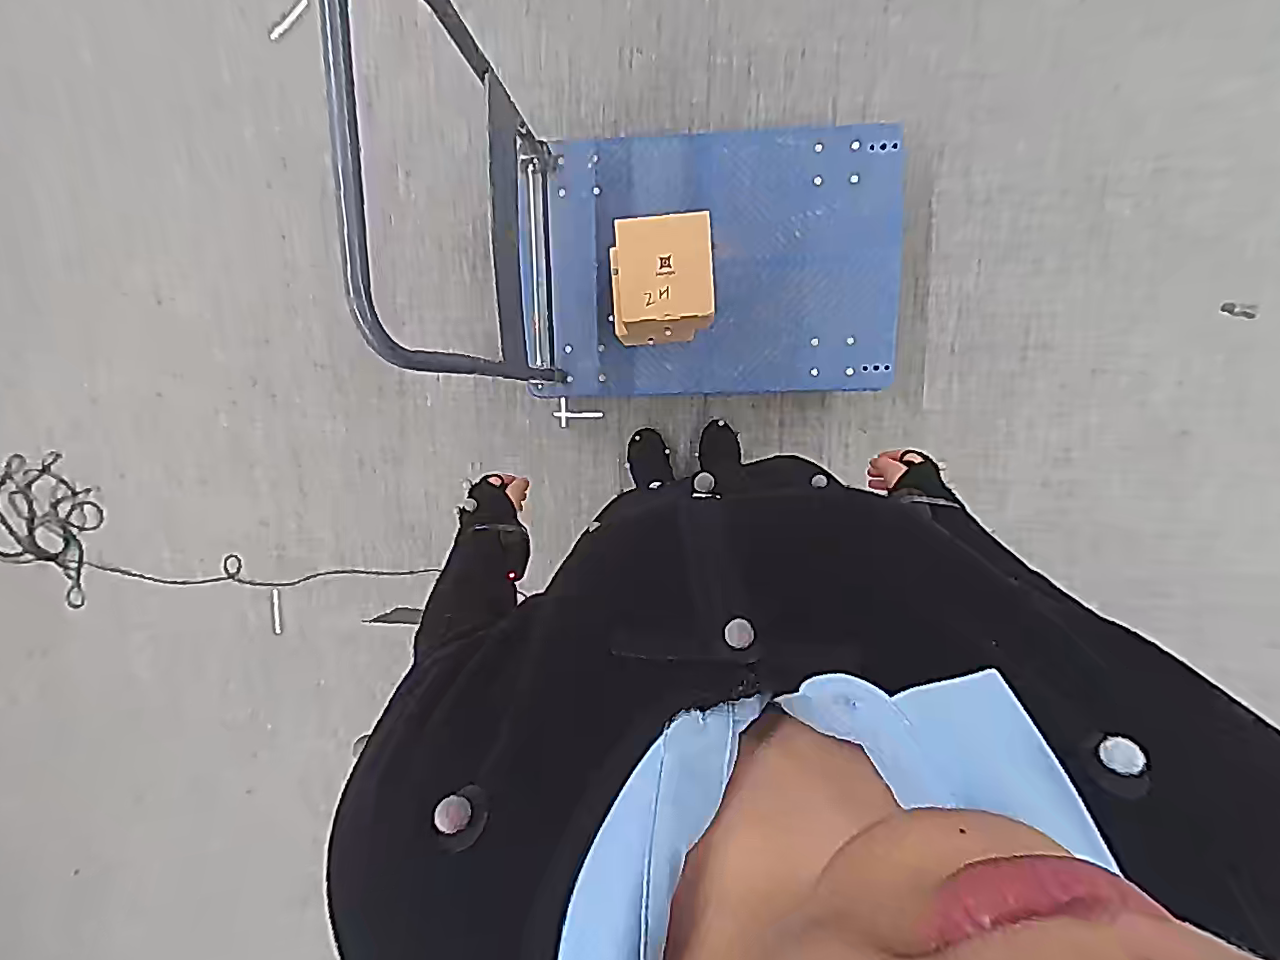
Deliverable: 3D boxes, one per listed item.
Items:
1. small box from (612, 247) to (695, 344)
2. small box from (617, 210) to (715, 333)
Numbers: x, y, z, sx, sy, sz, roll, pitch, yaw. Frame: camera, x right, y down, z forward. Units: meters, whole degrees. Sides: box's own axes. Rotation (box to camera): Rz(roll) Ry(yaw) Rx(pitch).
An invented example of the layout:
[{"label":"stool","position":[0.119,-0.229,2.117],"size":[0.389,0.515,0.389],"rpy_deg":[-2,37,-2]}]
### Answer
[{"label":"small box","position":[0.032,-0.401,1.178],"size":[0.168,0.176,0.179],"rpy_deg":[-4,98,4]},{"label":"small box","position":[0.049,-0.380,1.013],"size":[0.168,0.176,0.179],"rpy_deg":[-4,98,4]}]
